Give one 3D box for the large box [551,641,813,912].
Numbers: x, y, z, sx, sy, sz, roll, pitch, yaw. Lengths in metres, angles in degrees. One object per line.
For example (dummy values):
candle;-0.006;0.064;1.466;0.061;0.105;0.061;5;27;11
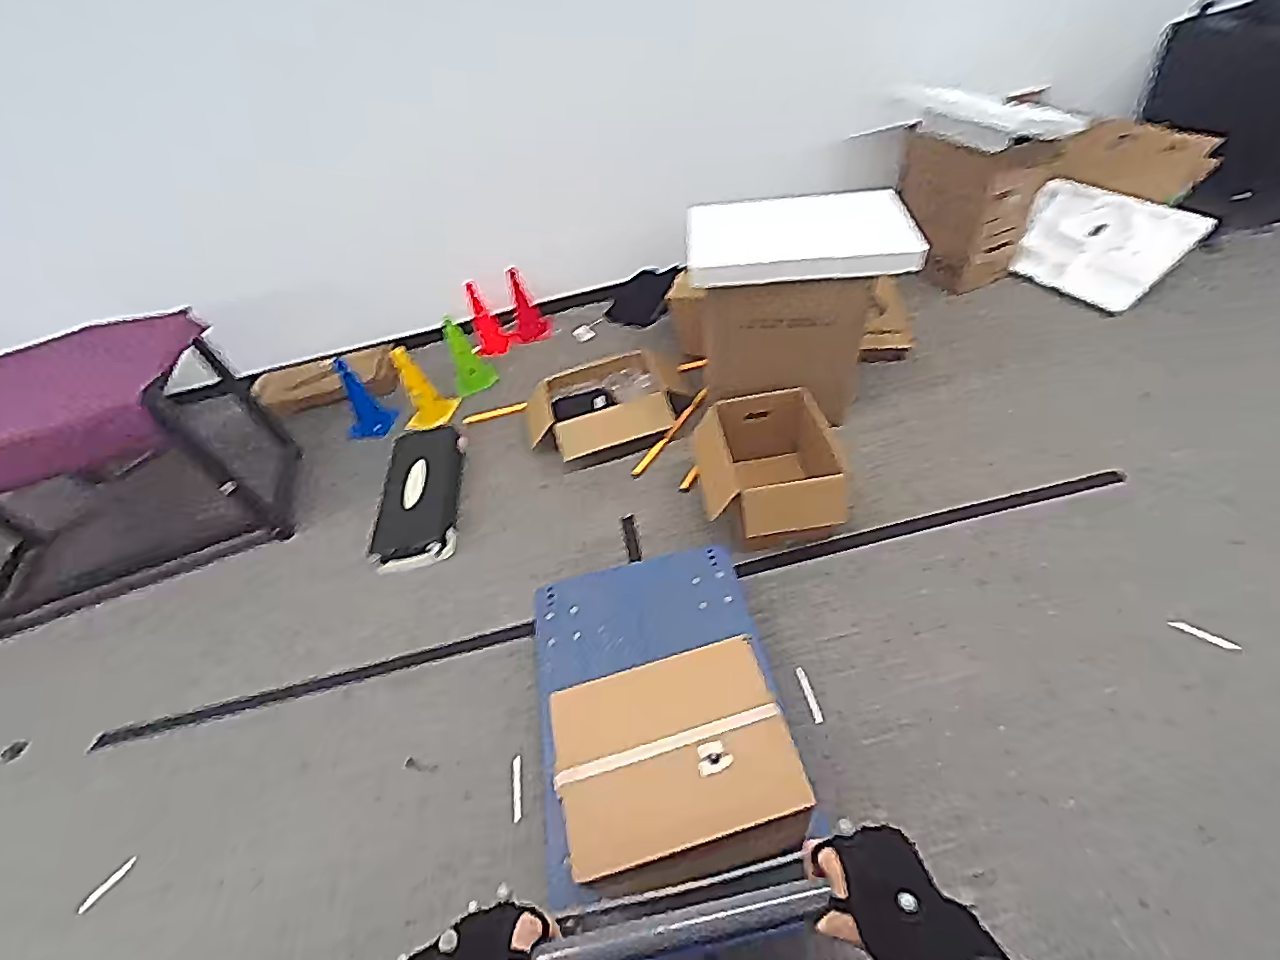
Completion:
large box;0.074;0.582;1.064;0.408;0.320;0.320;-16;47;-5
